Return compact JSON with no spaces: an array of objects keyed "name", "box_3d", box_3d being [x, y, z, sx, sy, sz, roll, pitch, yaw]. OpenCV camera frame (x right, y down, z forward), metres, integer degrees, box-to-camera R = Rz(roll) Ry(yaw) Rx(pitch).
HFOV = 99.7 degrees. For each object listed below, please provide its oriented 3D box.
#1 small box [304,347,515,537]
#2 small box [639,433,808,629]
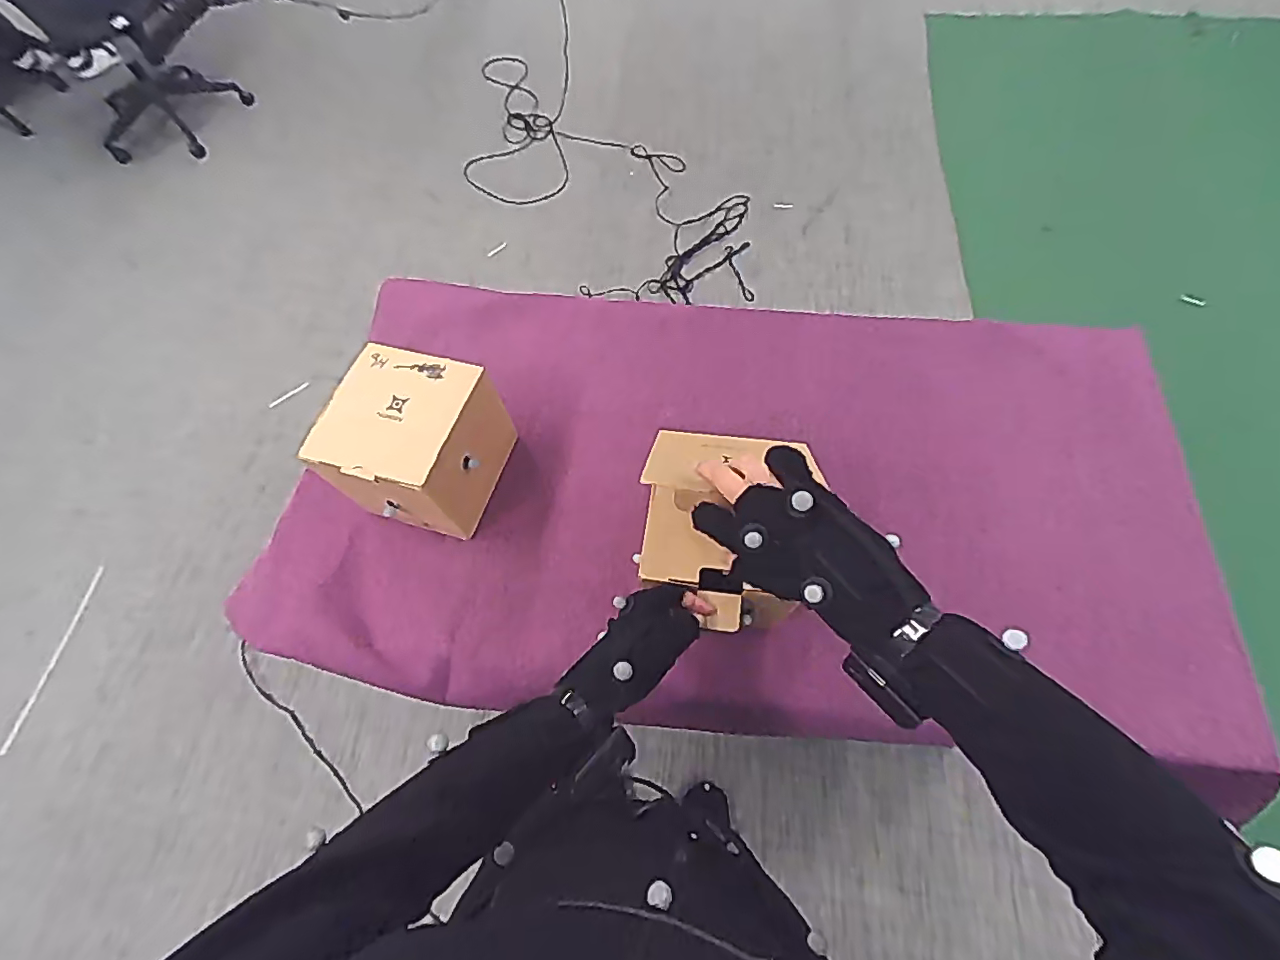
[{"name":"small box","box_3d":[-0.285,-0.043,0.717,0.168,0.176,0.179,14,66,9]},{"name":"small box","box_3d":[0.097,0.068,0.640,0.168,0.176,0.179,6,64,6]}]
